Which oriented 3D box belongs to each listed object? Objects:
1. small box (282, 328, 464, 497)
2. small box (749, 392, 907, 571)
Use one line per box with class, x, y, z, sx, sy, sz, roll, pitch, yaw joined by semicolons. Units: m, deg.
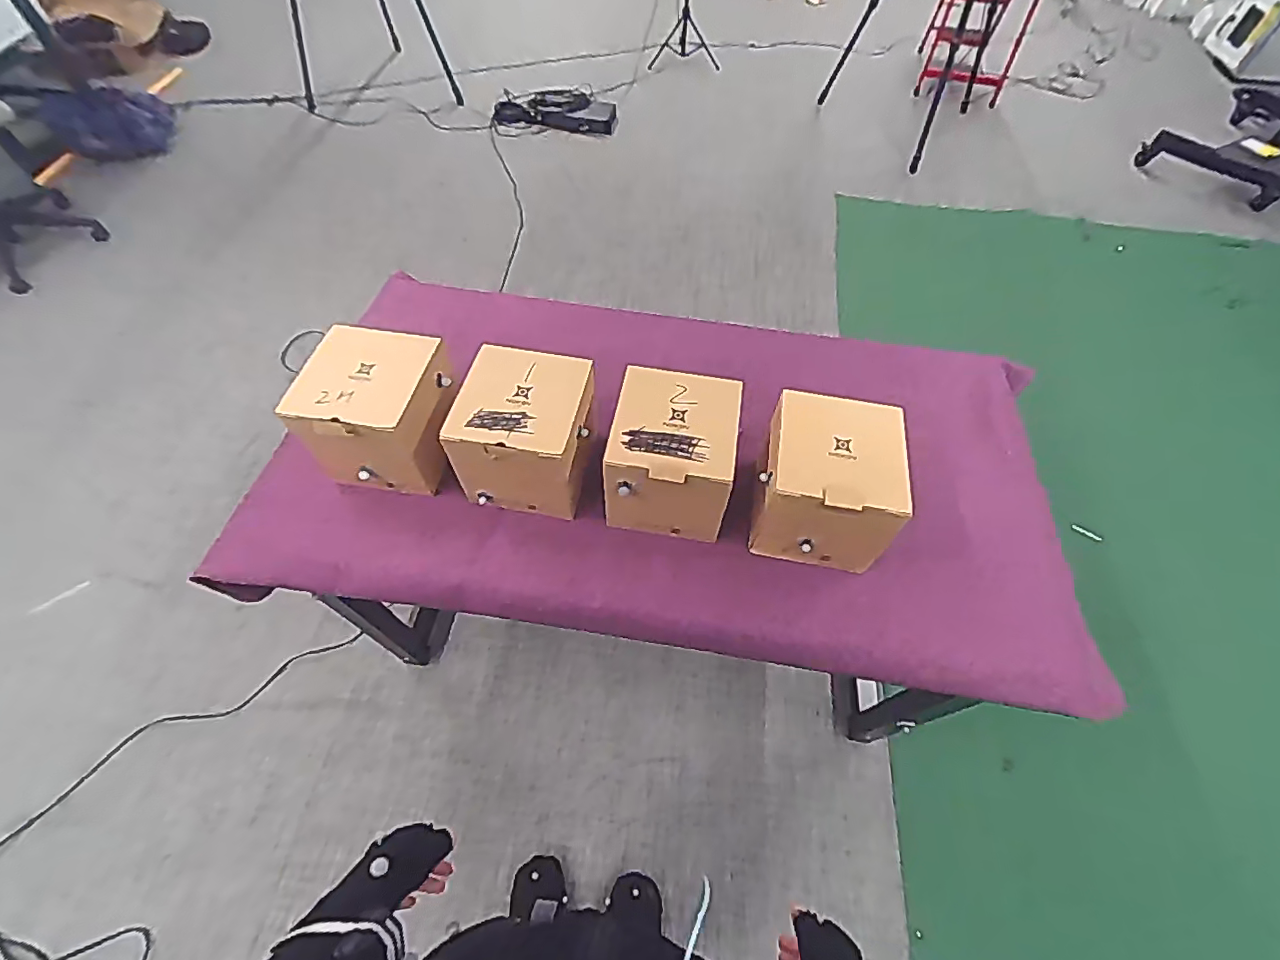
small box;-0.382;-0.100;0.818;0.168;0.176;0.179;8;57;4
small box;0.257;0.005;0.770;0.168;0.176;0.179;10;57;5
